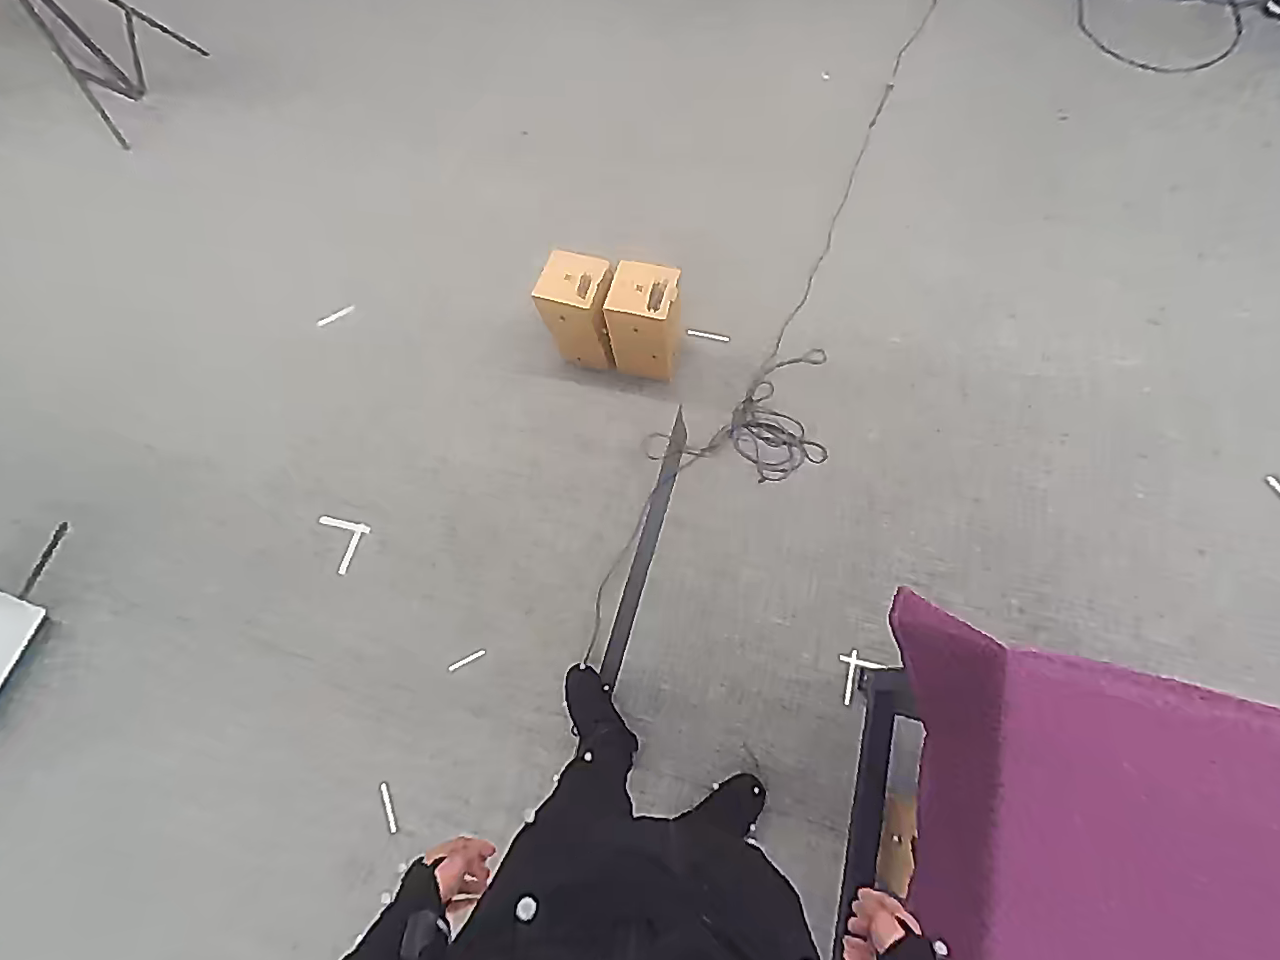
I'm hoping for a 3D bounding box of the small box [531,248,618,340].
[{"bbox_3d":[-0.176,-0.521,1.534,0.179,0.176,0.168,17,73,14],"label":"small box"}]
